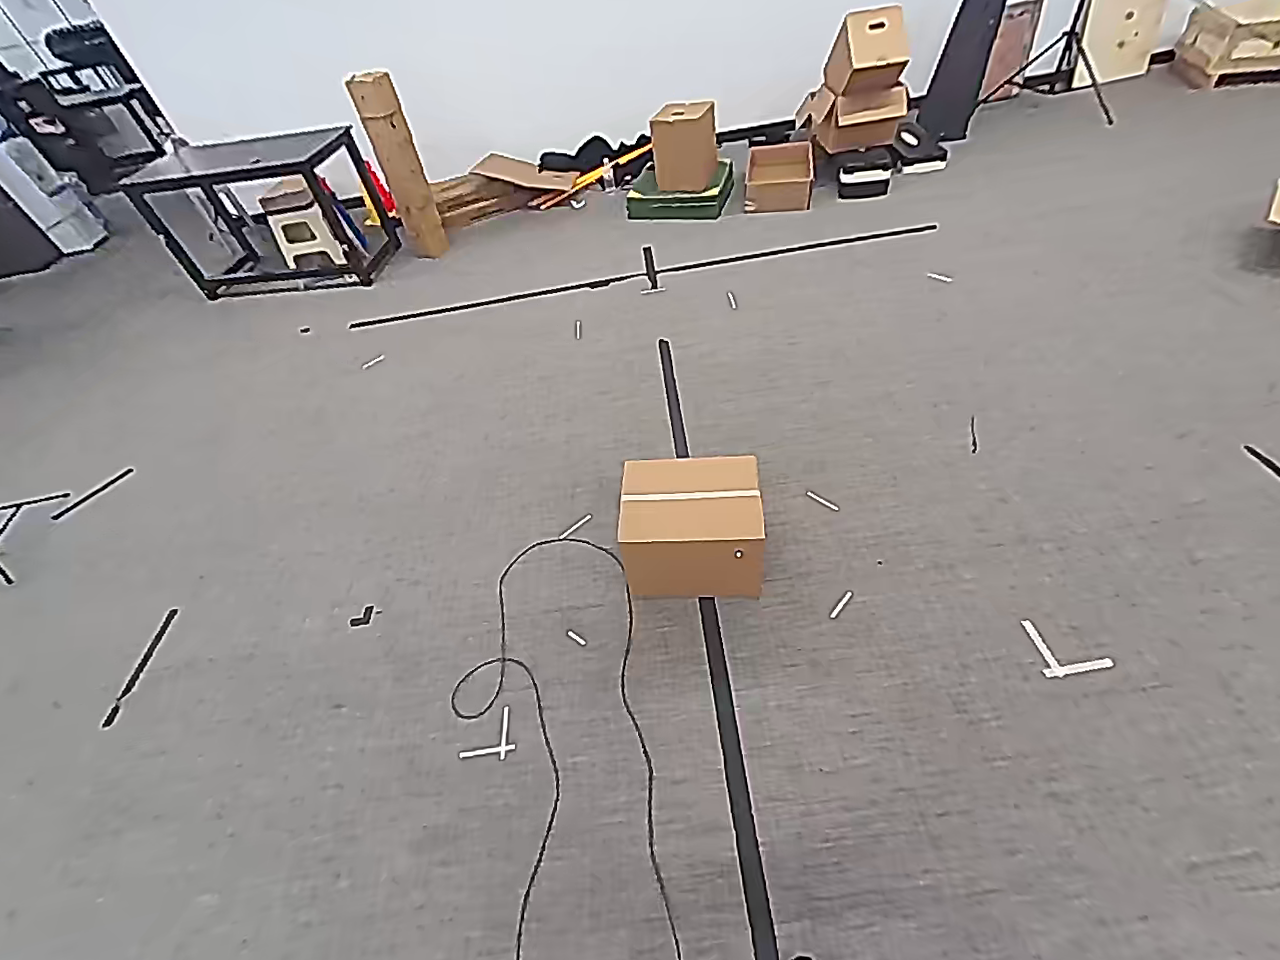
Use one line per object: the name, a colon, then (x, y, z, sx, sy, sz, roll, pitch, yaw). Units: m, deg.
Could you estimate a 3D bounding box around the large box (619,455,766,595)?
large box: (0.164, 0.145, 1.669, 0.408, 0.320, 0.320, -2, 48, 7)
